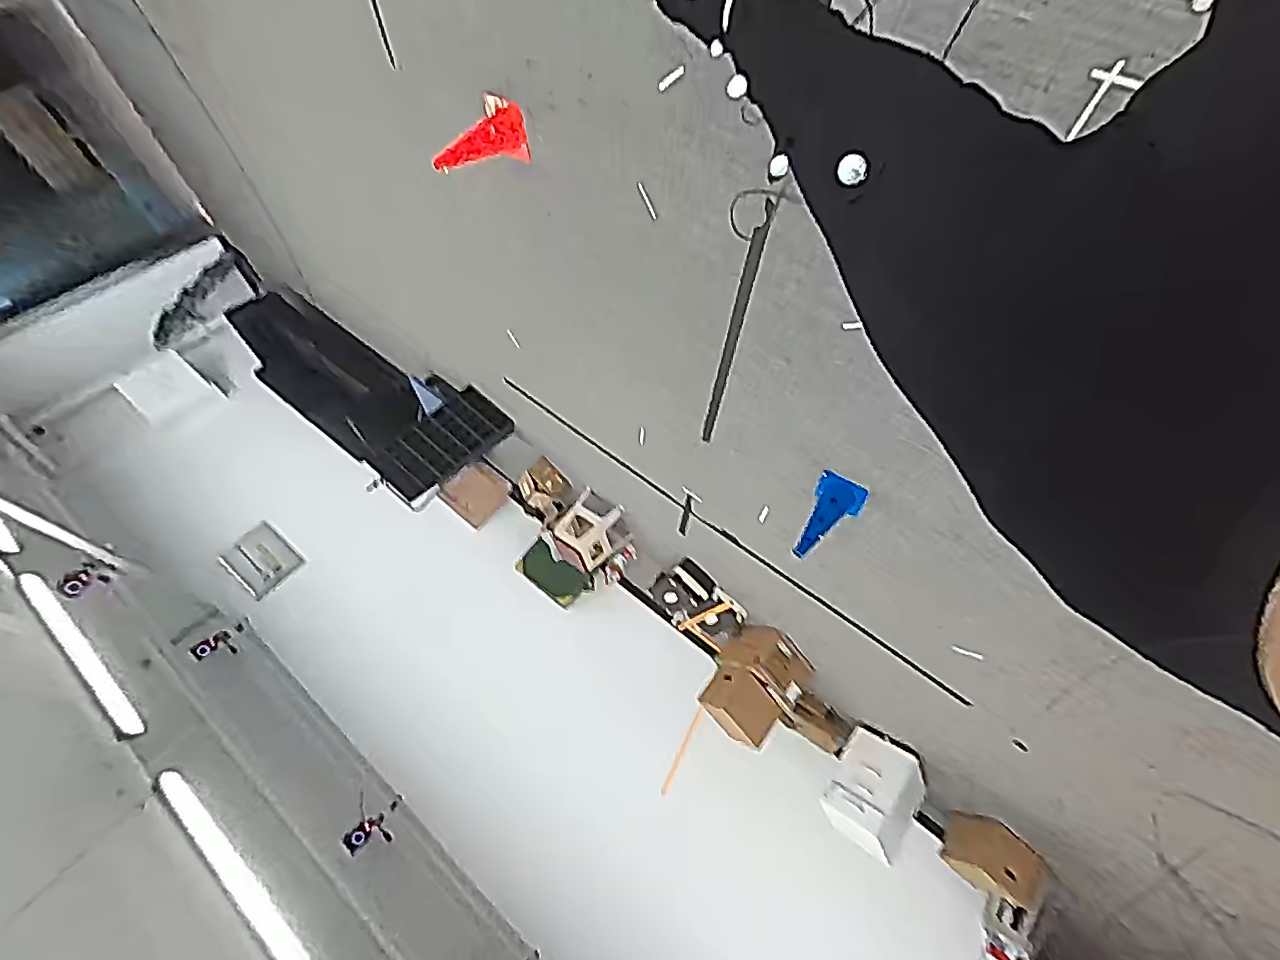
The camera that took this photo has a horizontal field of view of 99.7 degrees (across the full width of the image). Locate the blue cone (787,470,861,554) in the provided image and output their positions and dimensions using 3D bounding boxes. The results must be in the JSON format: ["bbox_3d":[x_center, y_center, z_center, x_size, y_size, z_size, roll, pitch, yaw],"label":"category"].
[{"bbox_3d":[0.715,0.160,2.180,0.192,0.380,0.193,33,153,22],"label":"blue cone"}]

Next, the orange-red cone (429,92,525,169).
[{"bbox_3d":[-0.633,-1.250,2.012,0.198,0.360,0.199,34,155,22],"label":"orange-red cone"}]
